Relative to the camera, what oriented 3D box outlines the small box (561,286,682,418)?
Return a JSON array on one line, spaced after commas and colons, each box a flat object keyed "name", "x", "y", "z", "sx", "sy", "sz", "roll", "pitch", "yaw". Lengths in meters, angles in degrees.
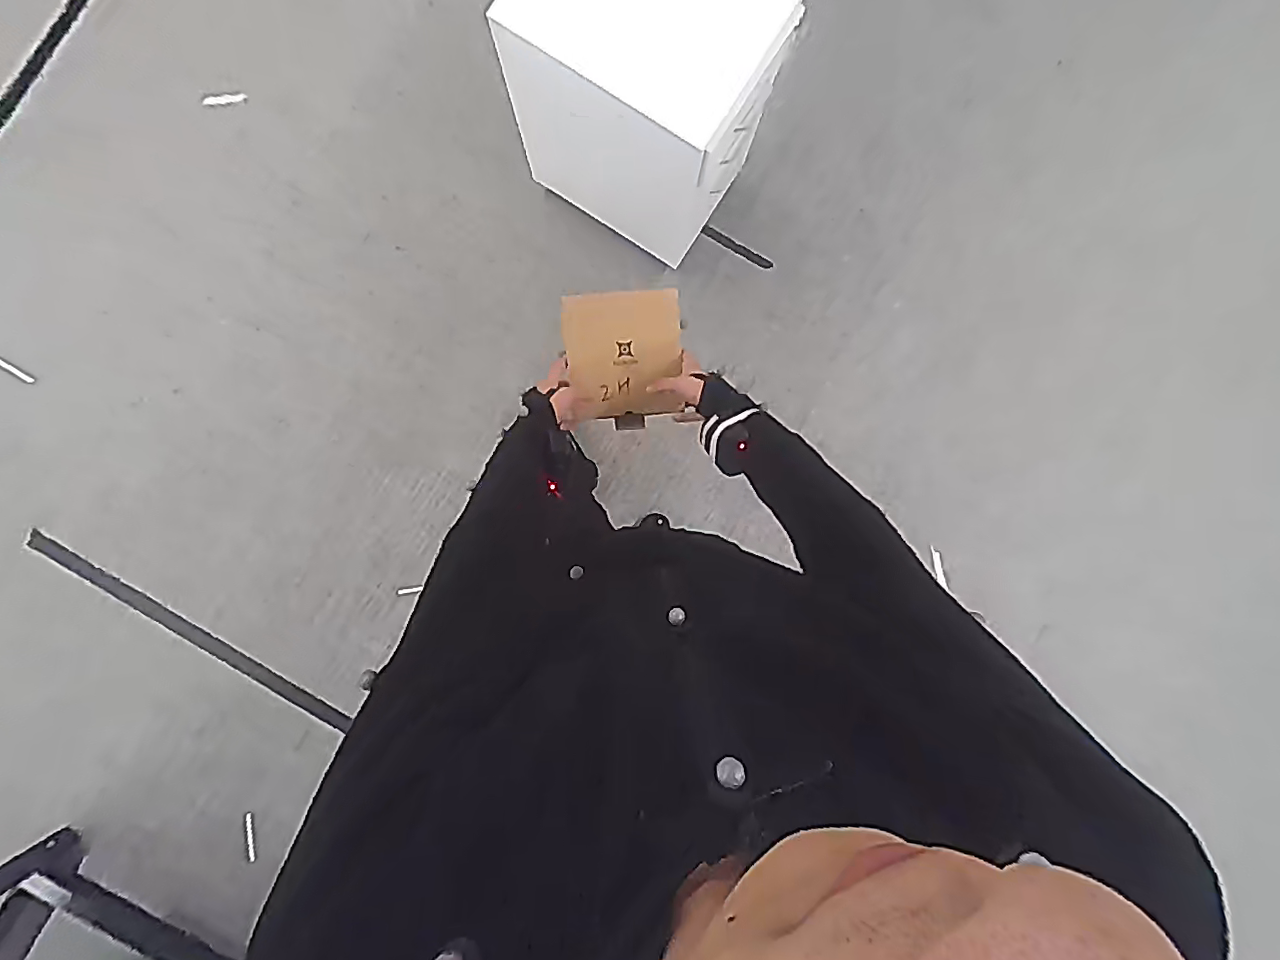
[{"name": "small box", "x": -0.028, "y": -0.194, "z": 0.843, "sx": 0.168, "sy": 0.176, "sz": 0.179, "roll": -4, "pitch": 102, "yaw": -1}]
